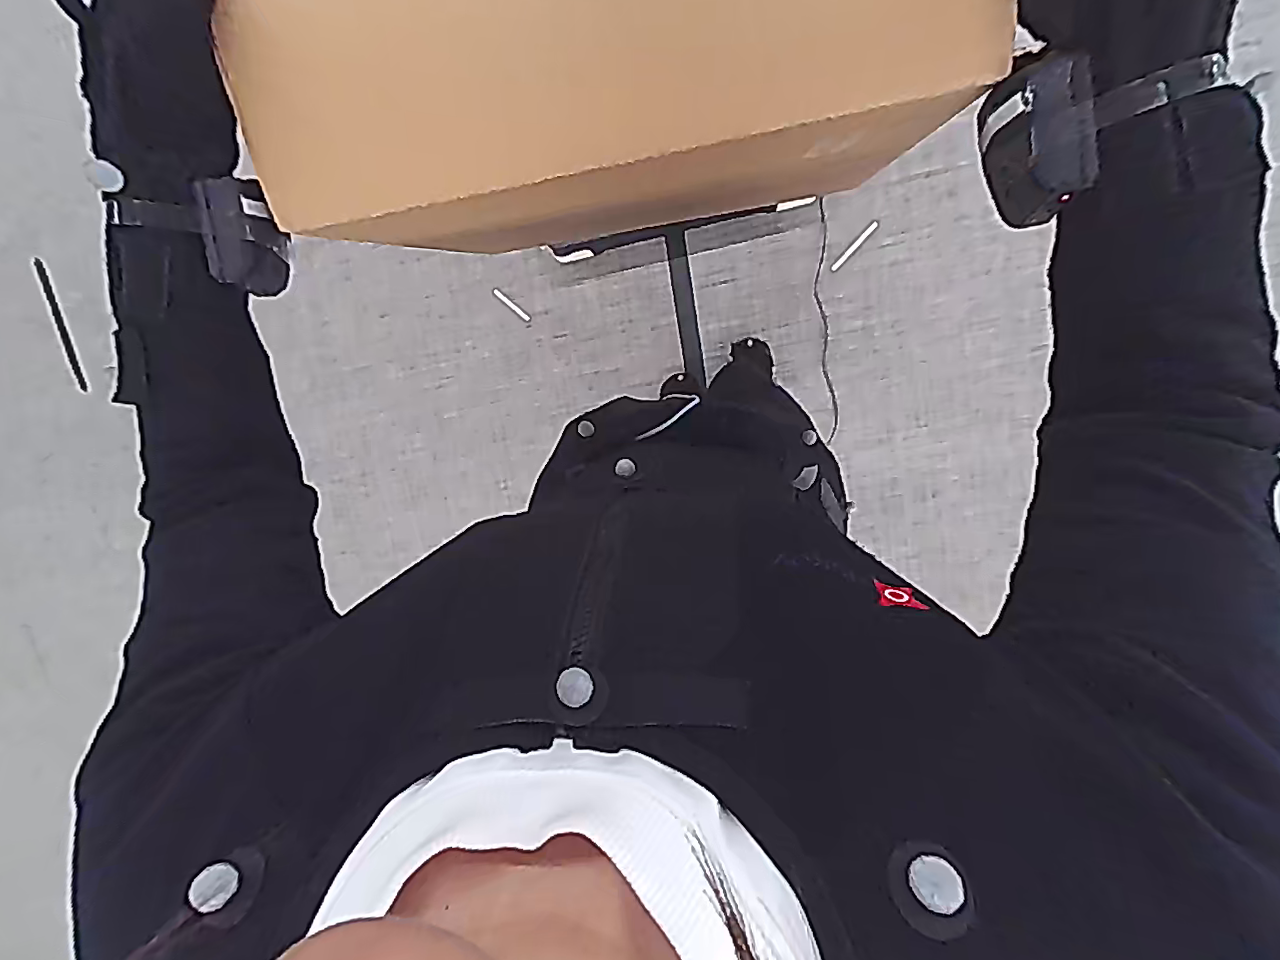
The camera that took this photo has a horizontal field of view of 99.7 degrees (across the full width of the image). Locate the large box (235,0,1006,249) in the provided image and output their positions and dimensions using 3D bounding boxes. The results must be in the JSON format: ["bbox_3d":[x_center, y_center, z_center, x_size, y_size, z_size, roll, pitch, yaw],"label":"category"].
[{"bbox_3d":[-0.021,-0.378,0.395,0.408,0.320,0.320,-6,110,10],"label":"large box"}]
